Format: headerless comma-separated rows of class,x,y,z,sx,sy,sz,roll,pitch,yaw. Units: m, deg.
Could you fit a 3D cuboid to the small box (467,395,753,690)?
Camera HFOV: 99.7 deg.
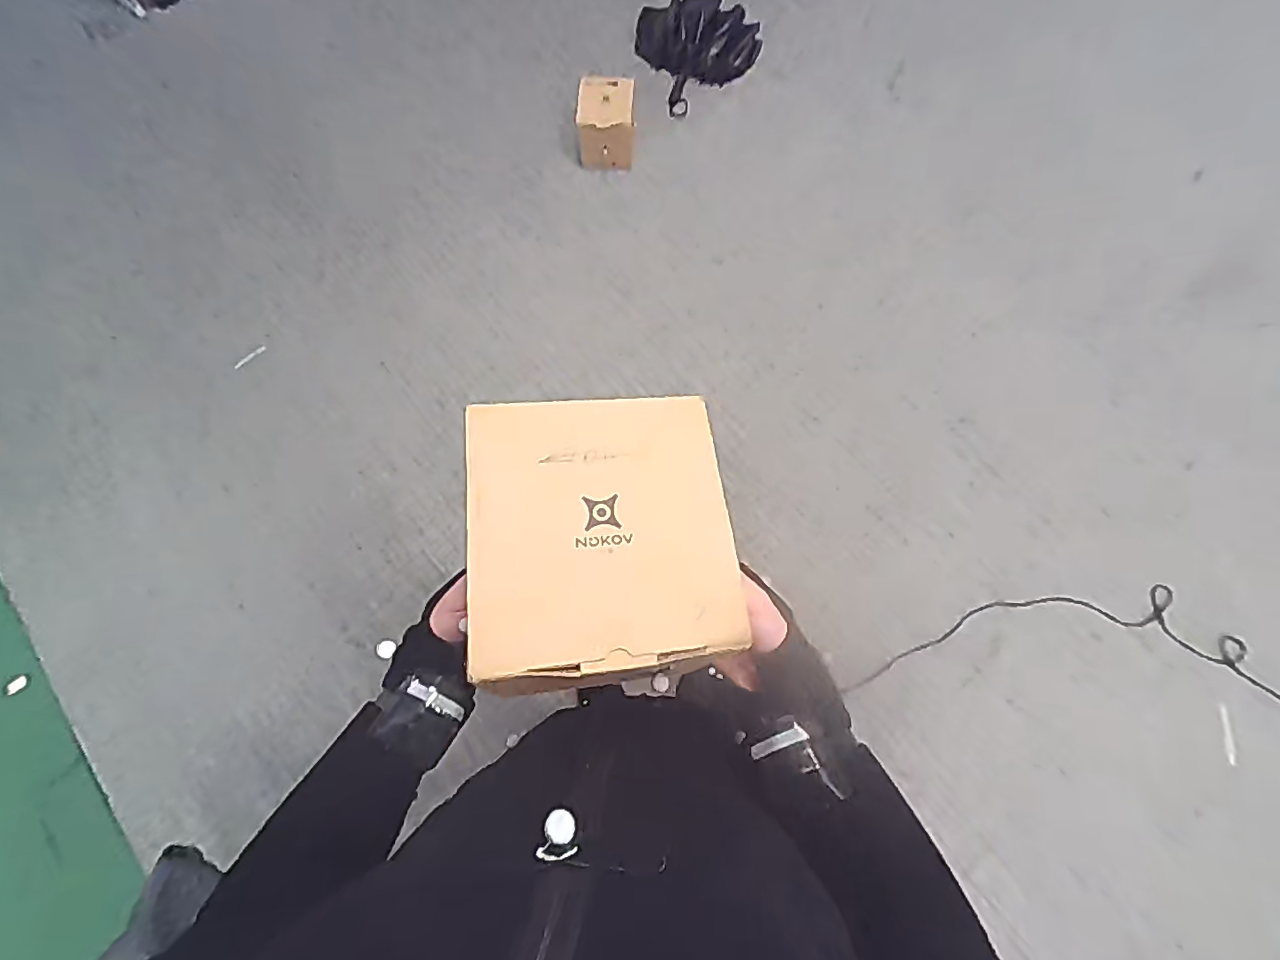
small box,-0.034,0.056,0.409,0.168,0.176,0.179,-4,65,-12
